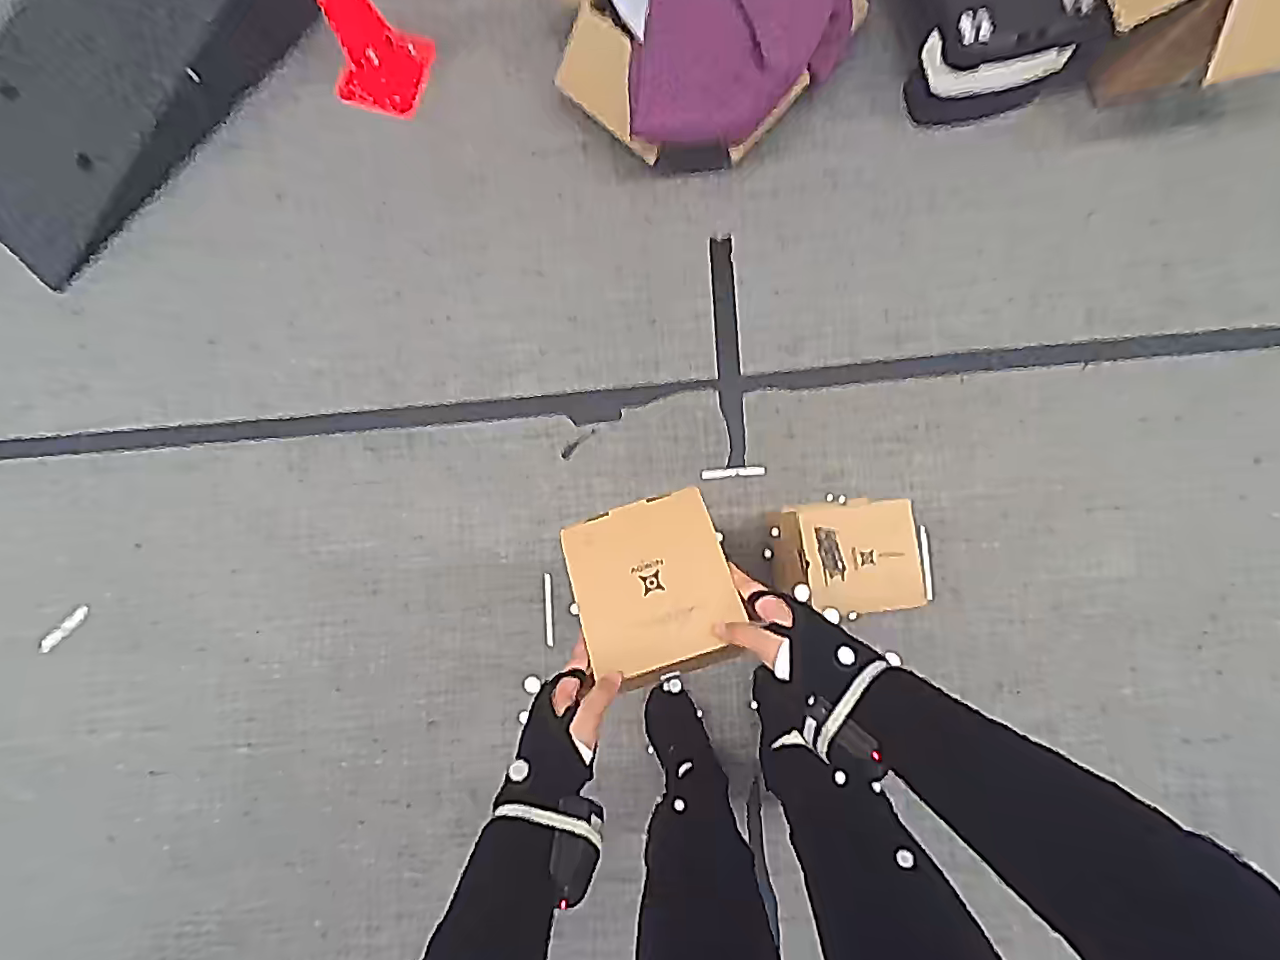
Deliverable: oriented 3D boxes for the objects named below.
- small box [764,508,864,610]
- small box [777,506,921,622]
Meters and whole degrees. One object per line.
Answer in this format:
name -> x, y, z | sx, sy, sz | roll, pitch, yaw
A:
small box -> 0.350, 0.151, 1.076 | 0.168, 0.176, 0.179 | -7, 85, 2
small box -> 0.337, 0.139, 0.911 | 0.179, 0.176, 0.168 | -6, 84, 1
